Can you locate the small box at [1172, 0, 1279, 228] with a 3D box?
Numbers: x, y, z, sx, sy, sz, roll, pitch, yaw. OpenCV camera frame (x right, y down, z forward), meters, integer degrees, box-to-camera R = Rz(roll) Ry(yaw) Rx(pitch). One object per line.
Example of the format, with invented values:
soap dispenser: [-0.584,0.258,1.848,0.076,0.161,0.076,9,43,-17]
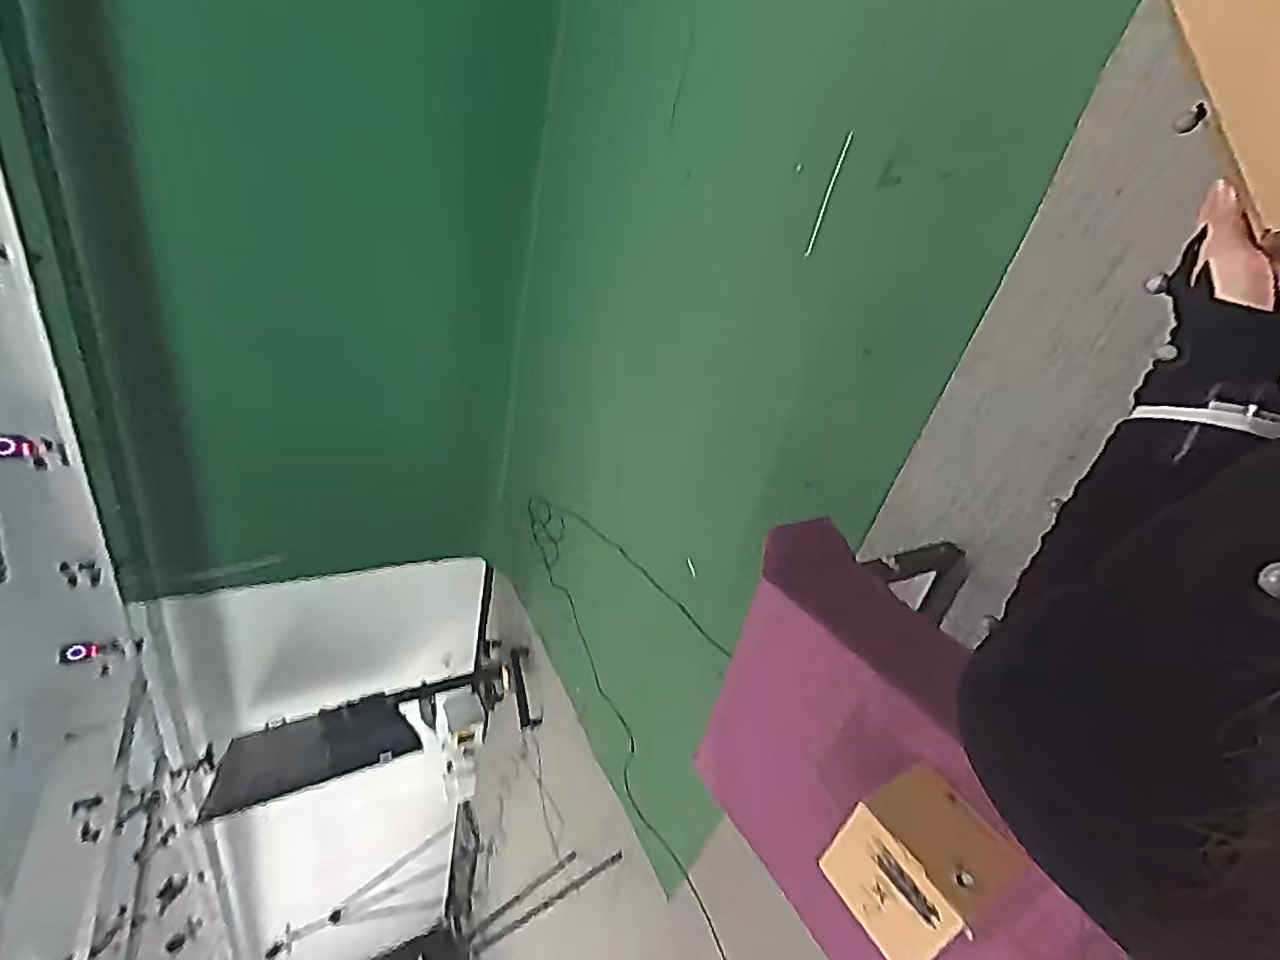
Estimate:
small box: [0.430,-0.261,0.296,0.168,0.176,0.179,-21,85,48]
